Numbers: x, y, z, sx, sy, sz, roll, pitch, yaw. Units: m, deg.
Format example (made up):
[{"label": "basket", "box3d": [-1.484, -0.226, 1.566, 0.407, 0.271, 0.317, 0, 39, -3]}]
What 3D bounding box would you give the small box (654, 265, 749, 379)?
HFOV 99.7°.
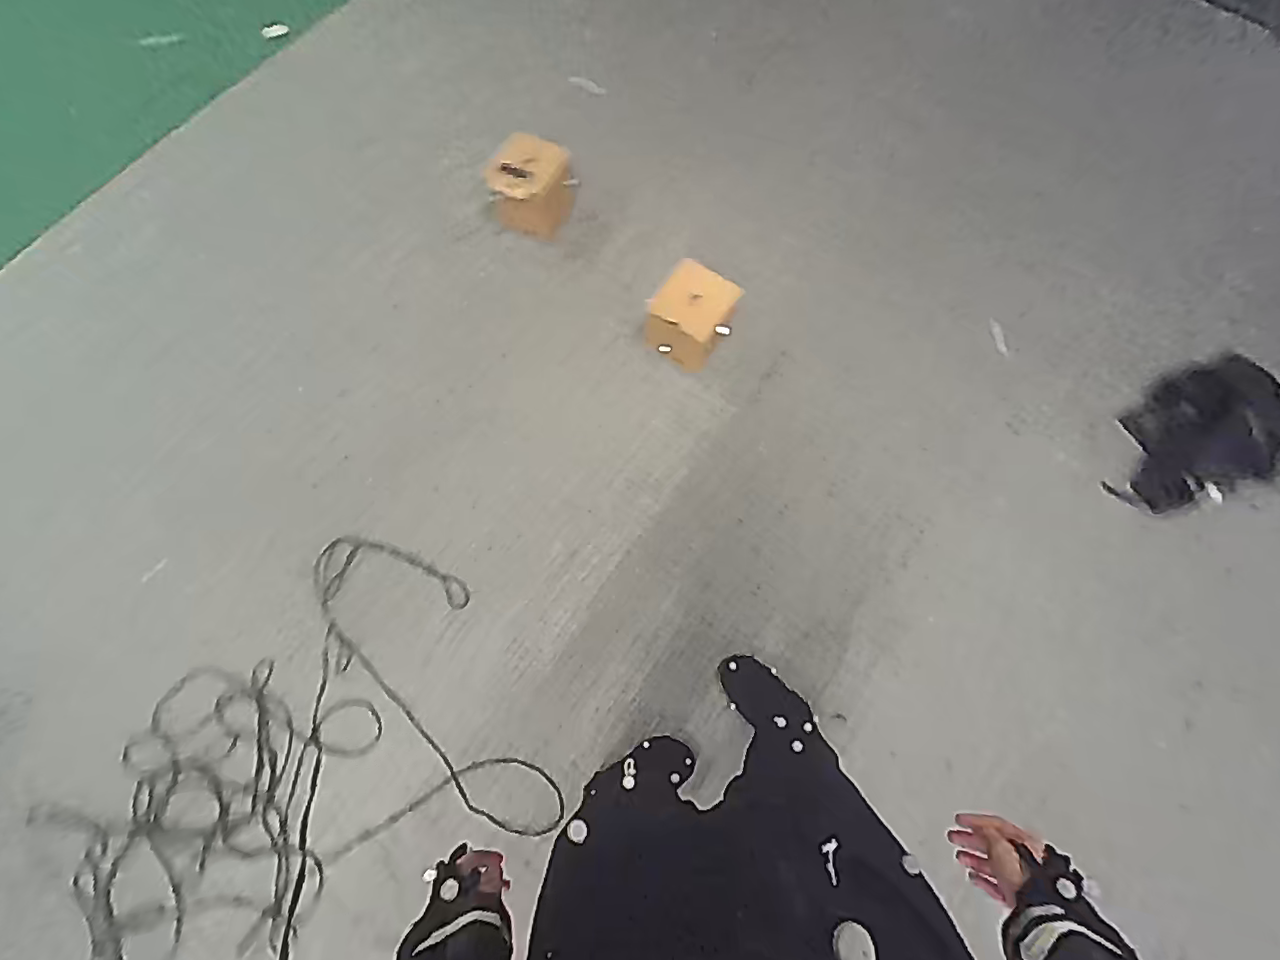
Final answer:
[{"label": "small box", "box3d": [0.145, -0.389, 1.354, 0.168, 0.176, 0.179, 35, 77, 9]}]
